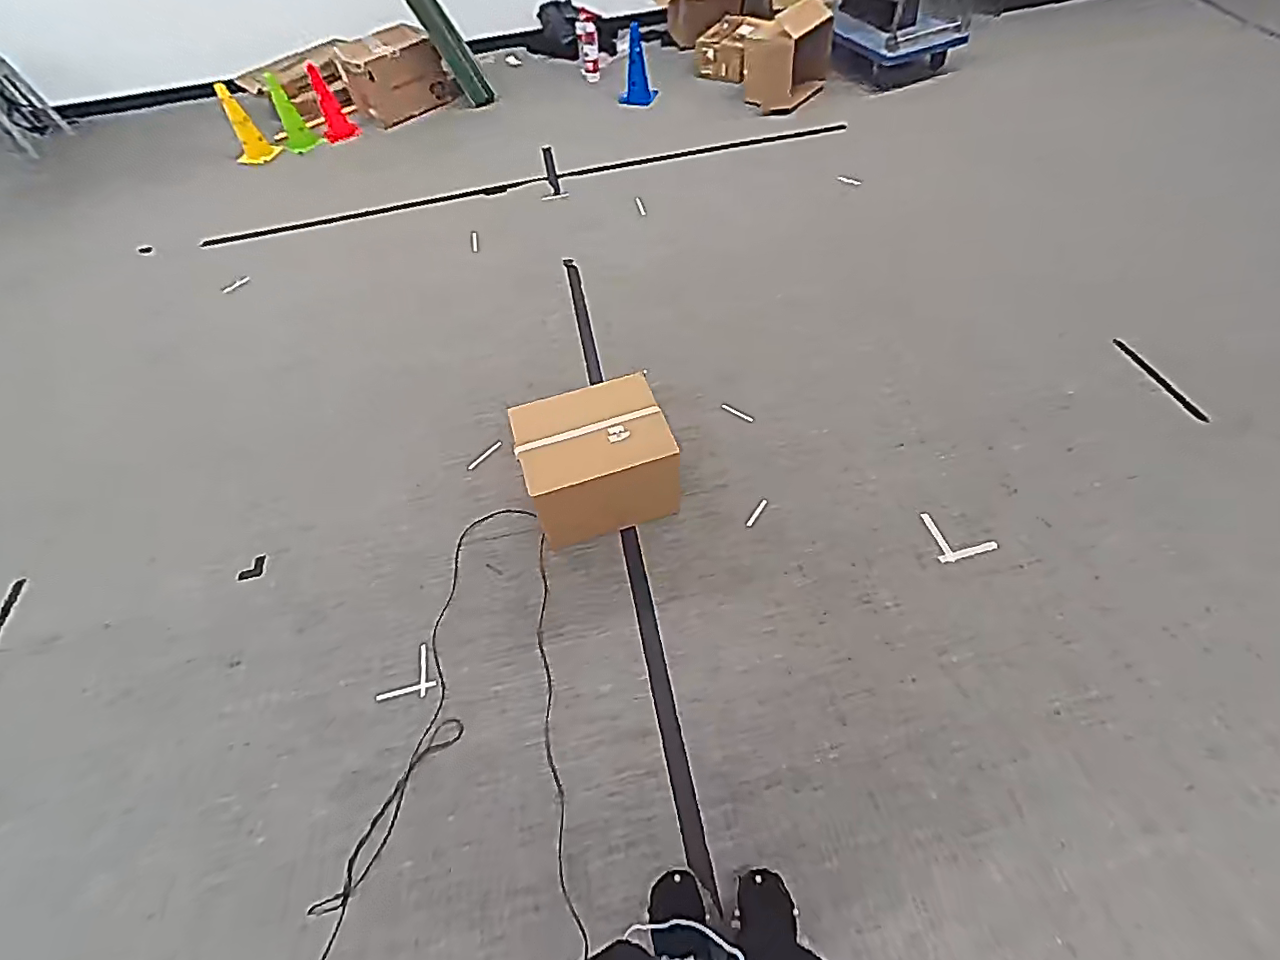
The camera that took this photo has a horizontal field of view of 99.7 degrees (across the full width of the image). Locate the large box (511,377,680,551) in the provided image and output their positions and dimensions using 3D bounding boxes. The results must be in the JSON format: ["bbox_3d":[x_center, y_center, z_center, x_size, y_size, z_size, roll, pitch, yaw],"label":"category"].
[{"bbox_3d":[-0.122,-0.042,1.582,0.408,0.320,0.320,-16,57,-8],"label":"large box"}]
